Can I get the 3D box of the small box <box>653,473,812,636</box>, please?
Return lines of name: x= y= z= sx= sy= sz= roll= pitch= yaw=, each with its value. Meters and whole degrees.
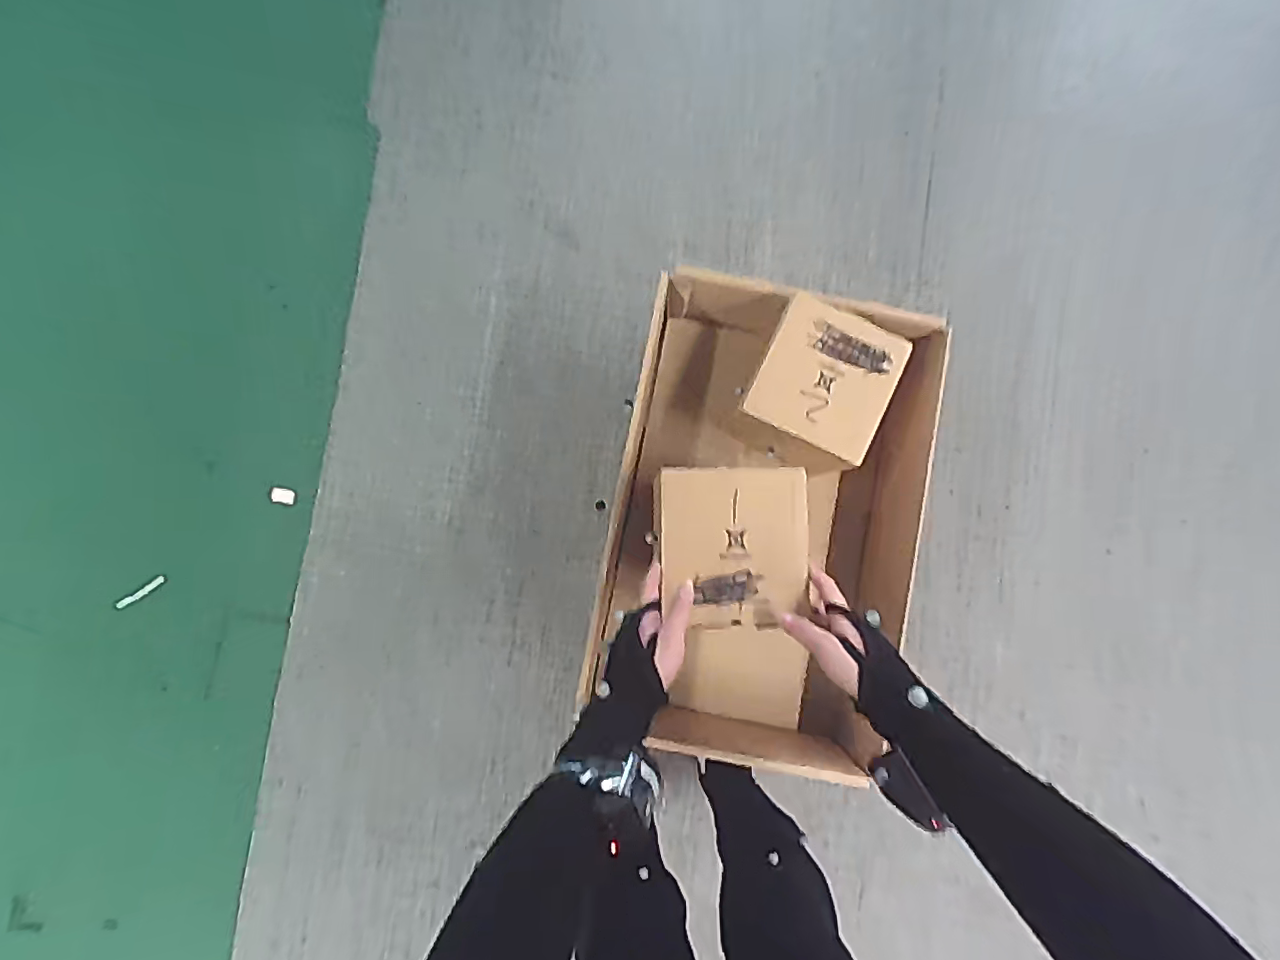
small box: x=0.103 y=0.084 z=0.662 sx=0.168 sy=0.176 sz=0.179 roll=0 pitch=86 yaw=-1
